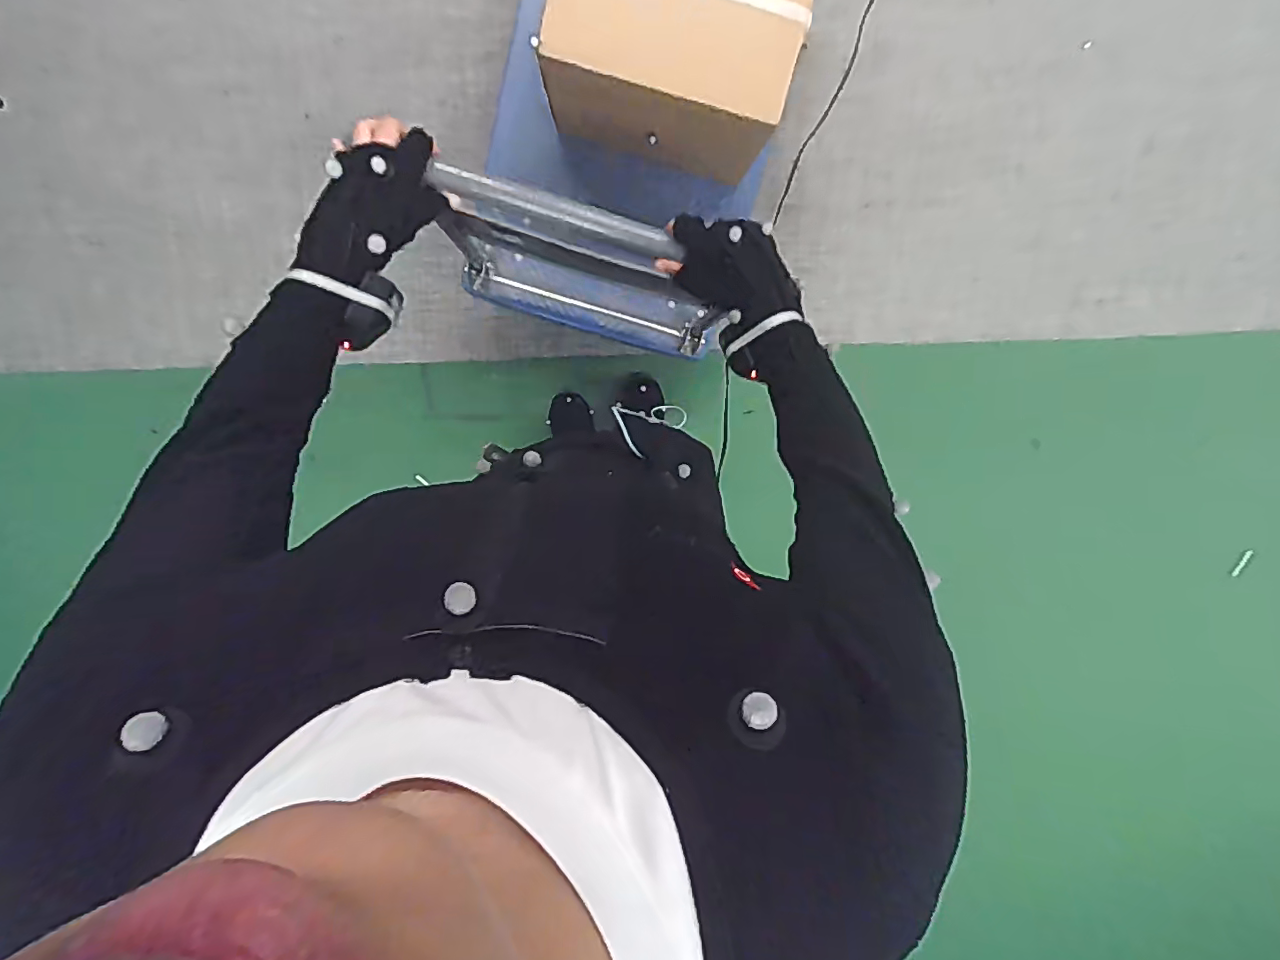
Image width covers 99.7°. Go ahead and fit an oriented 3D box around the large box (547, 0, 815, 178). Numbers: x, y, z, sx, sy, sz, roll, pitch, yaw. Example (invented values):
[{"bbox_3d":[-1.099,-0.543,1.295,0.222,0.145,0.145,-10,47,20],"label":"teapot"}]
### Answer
[{"bbox_3d":[0.075,-0.804,0.988,0.408,0.320,0.320,13,101,-4],"label":"large box"}]
